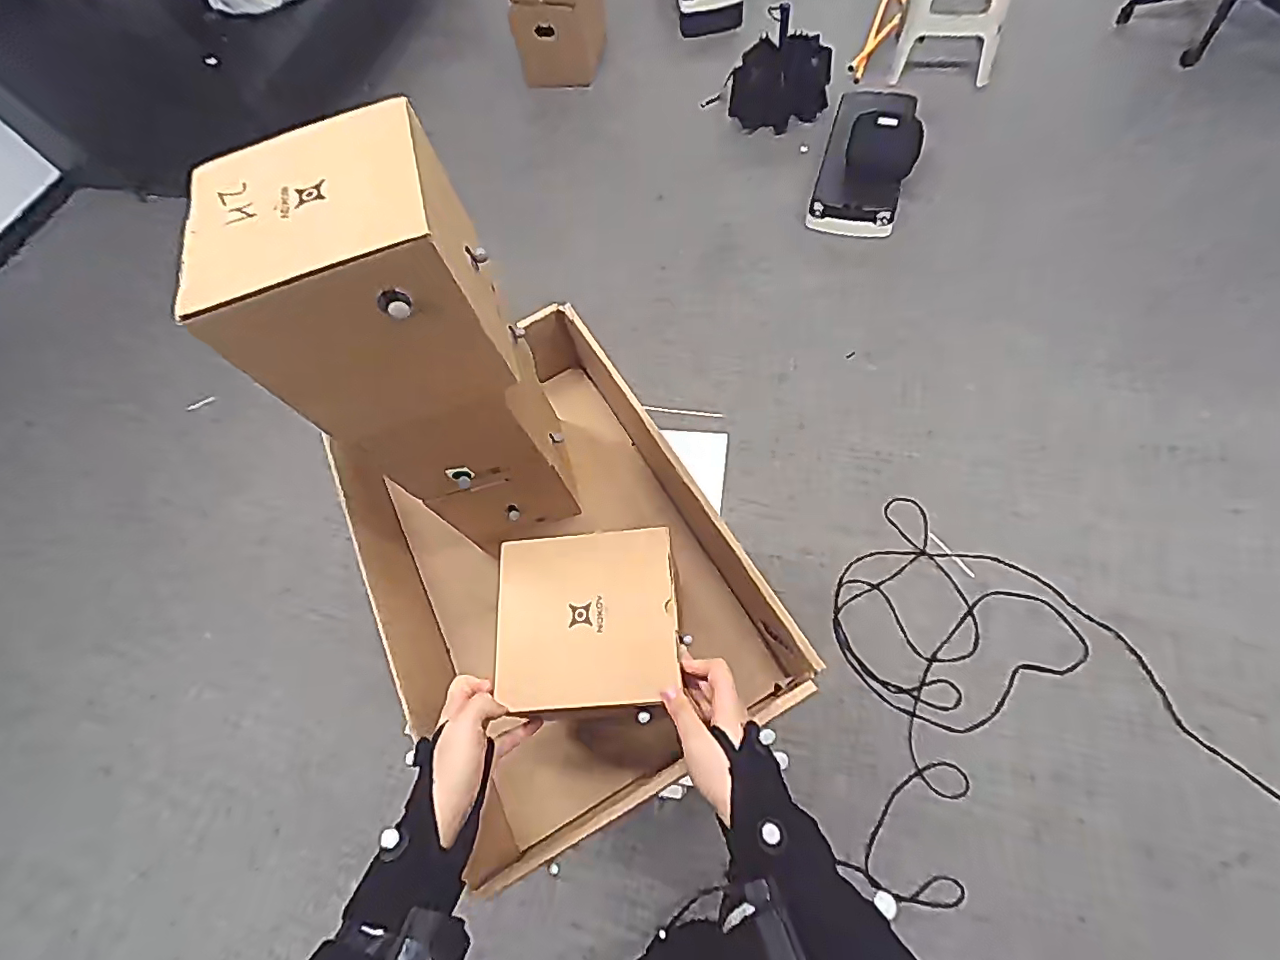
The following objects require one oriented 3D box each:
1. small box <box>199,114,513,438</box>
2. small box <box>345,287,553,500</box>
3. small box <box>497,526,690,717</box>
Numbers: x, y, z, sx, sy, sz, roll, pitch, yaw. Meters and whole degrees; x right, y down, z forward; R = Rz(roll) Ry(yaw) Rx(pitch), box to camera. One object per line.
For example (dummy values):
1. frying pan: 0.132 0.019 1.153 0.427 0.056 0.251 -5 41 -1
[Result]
1. small box: -0.223 -0.163 0.468 0.179 0.176 0.168 -19 62 1
2. small box: -0.211 -0.102 0.622 0.168 0.176 0.179 -16 64 3
3. small box: -0.042 0.164 0.600 0.179 0.176 0.168 -6 63 4
